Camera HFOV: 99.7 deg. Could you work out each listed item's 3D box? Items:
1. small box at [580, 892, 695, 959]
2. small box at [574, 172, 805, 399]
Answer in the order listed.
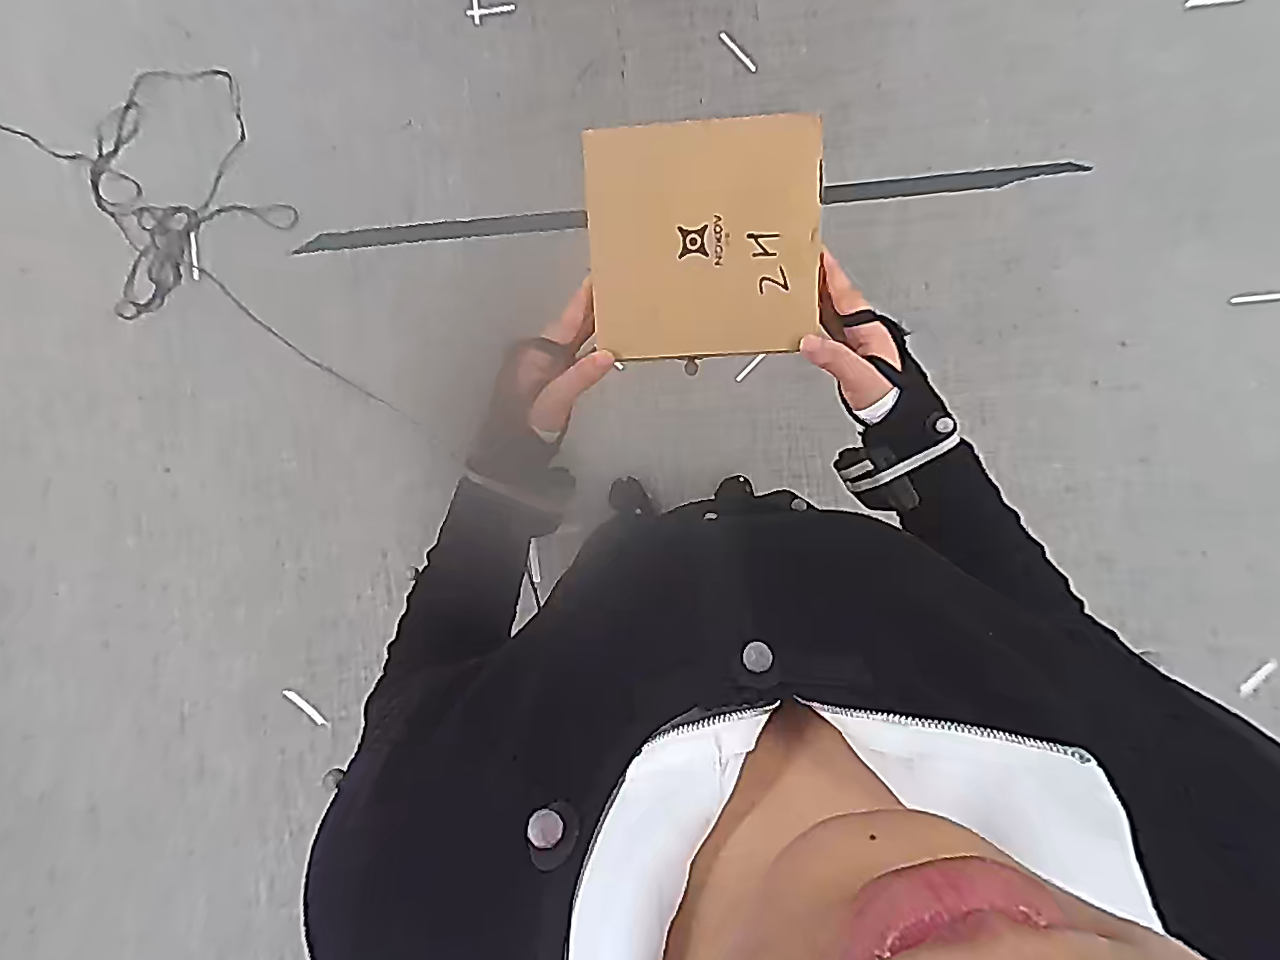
[{"bbox_3d":[-0.003,0.764,0.800,0.168,0.176,0.179,1,89,3],"label":"small box"},{"bbox_3d":[0.043,-0.163,0.499,0.179,0.176,0.168,-2,103,3],"label":"small box"}]
